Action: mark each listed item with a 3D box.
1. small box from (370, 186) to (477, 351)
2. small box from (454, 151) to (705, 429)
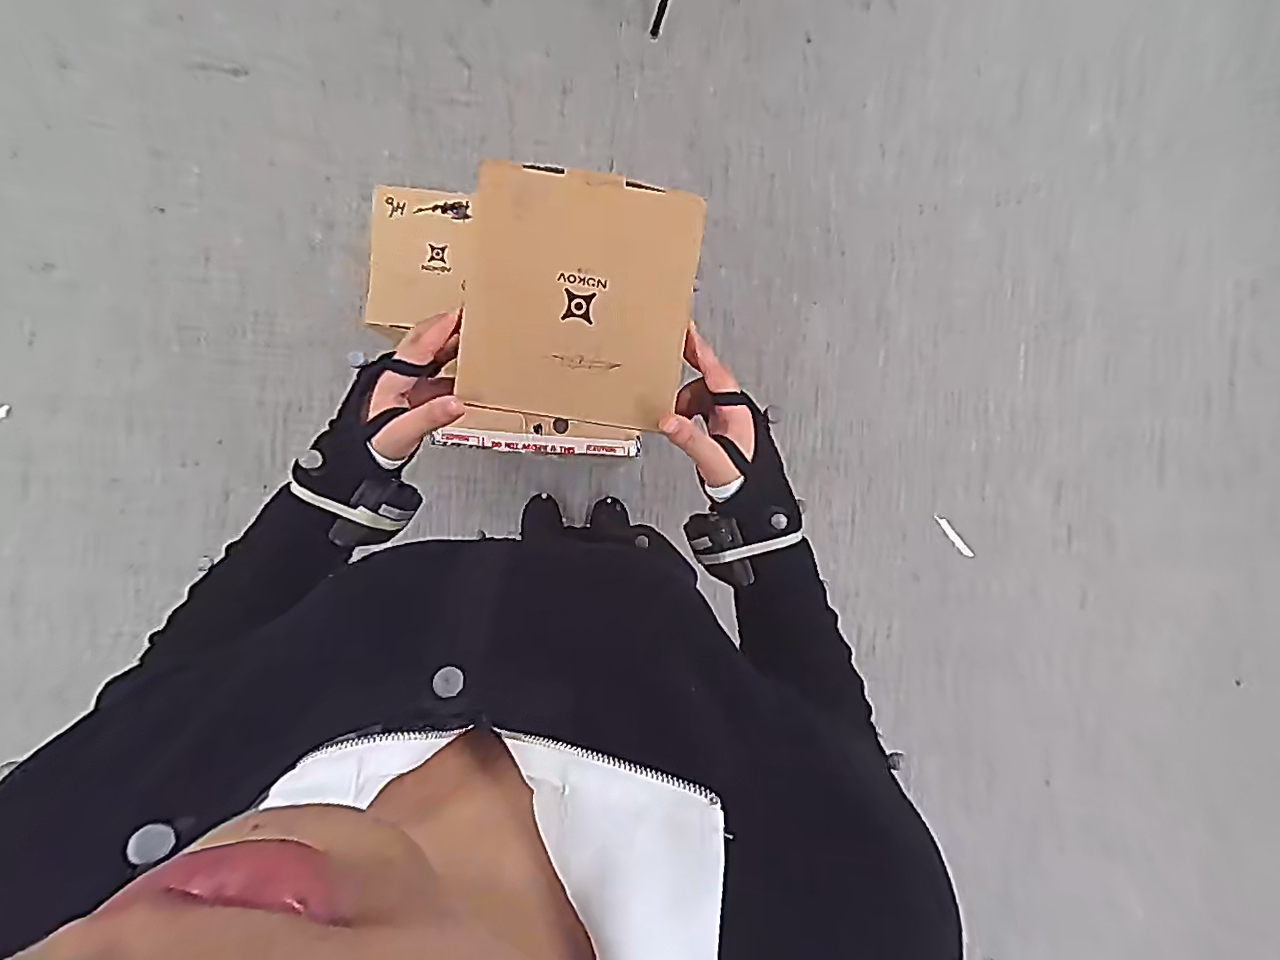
[{"bbox_3d":[-0.255,-0.277,0.757,0.168,0.176,0.179,4,92,-4],"label":"small box"},{"bbox_3d":[-0.050,-0.146,0.475,0.168,0.176,0.179,8,98,-4],"label":"small box"}]
